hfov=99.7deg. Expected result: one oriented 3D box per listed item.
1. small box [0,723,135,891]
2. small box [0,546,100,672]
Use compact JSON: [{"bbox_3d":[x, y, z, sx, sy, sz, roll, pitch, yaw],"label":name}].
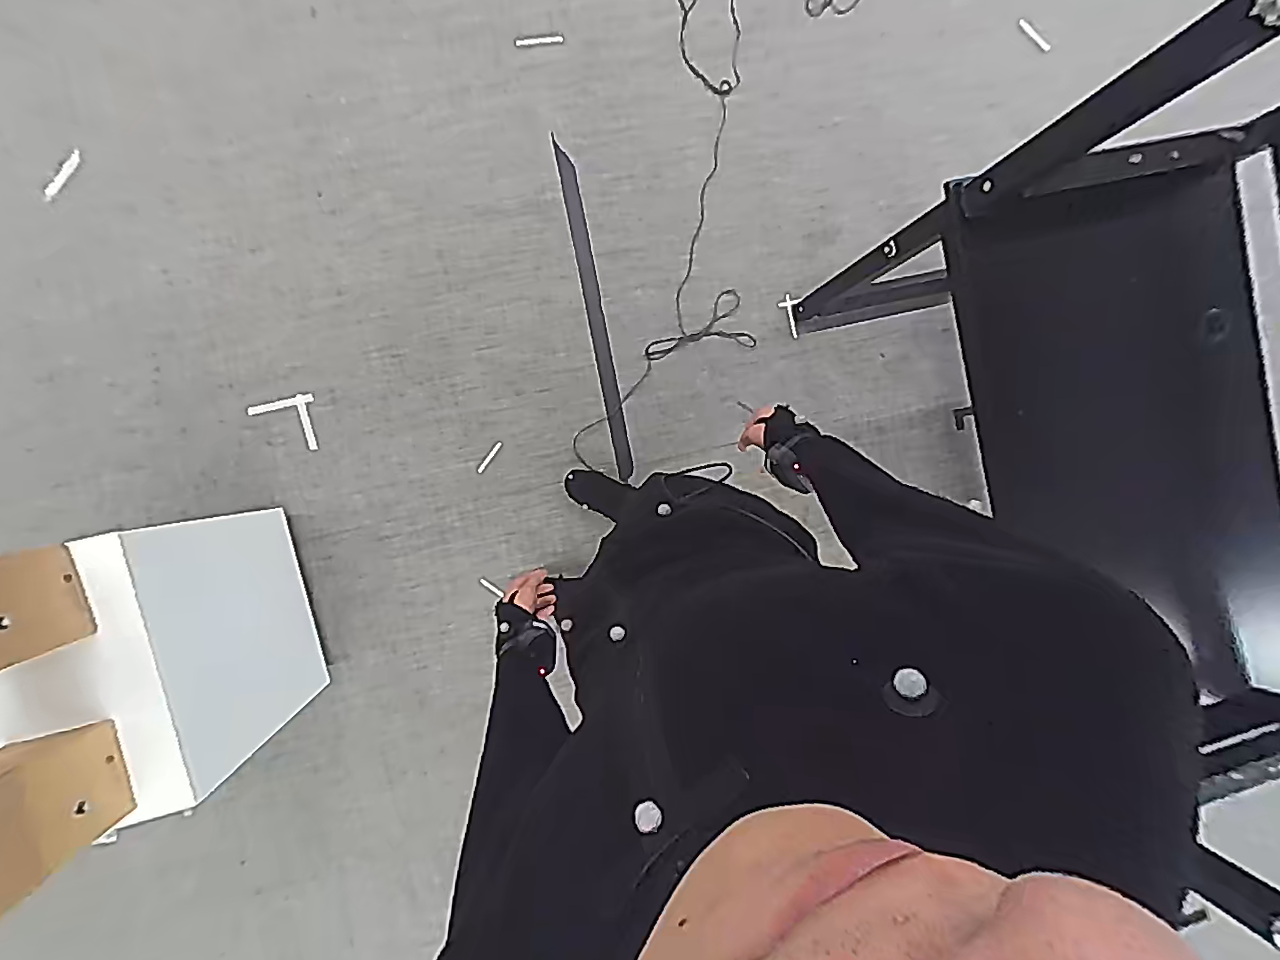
[{"bbox_3d":[-0.960,0.514,0.856,0.179,0.176,0.168,-13,93,-6],"label":"small box"},{"bbox_3d":[-1.017,0.212,0.835,0.179,0.176,0.168,-16,95,-6],"label":"small box"}]
